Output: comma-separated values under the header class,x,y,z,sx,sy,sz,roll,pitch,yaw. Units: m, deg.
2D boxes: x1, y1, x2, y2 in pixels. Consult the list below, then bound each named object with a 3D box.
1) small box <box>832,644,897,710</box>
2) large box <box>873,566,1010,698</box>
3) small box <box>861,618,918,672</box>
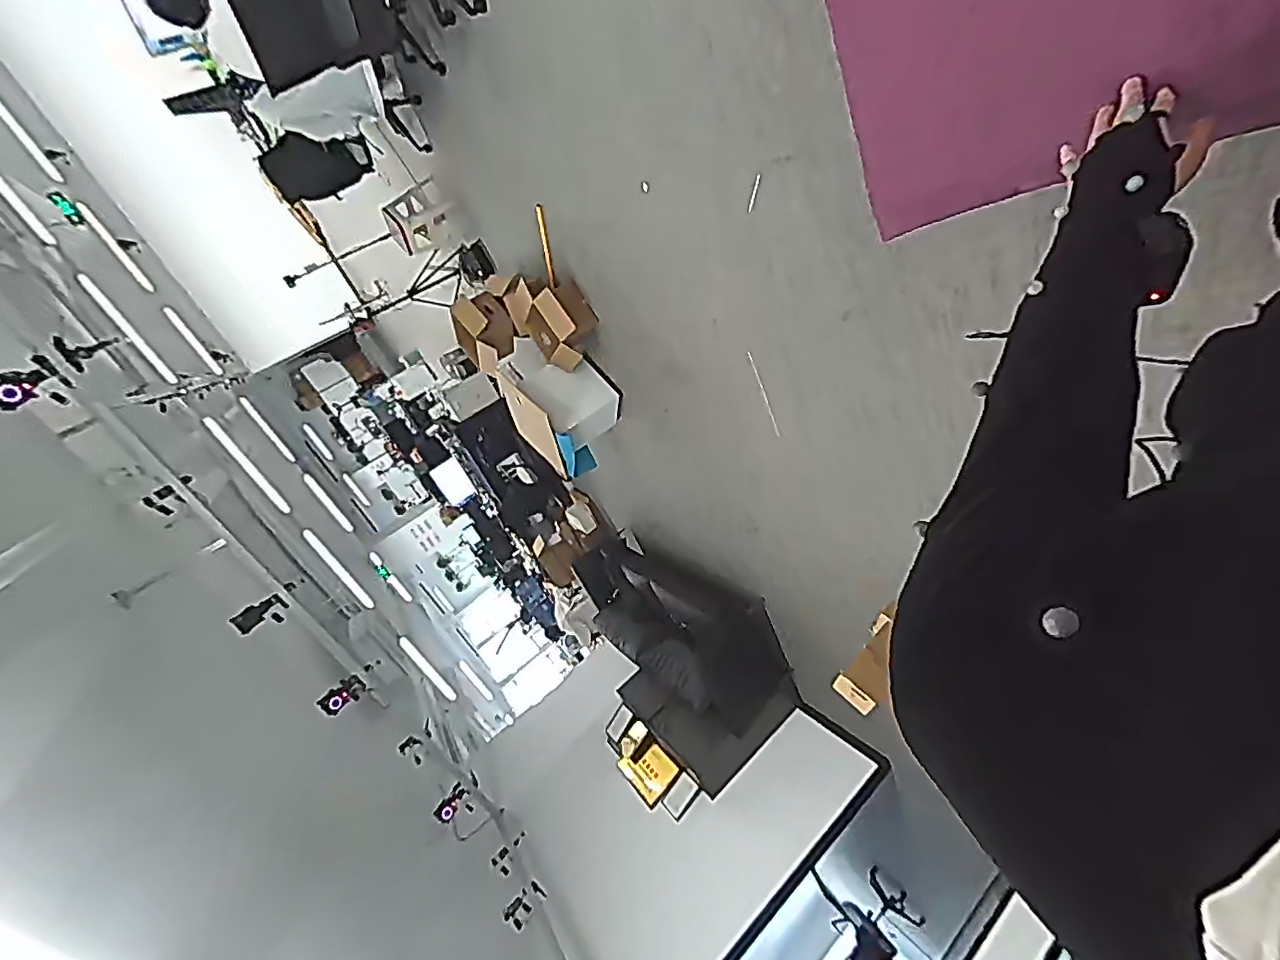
class,x,y,z,sx,sy,sz,roll,pitch,yaw
small box,0.935,0.816,2.248,0.168,0.176,0.179,40,156,29
large box,1.301,0.657,2.377,0.408,0.320,0.320,36,155,35
small box,1.055,0.726,2.313,0.168,0.176,0.179,40,155,29
